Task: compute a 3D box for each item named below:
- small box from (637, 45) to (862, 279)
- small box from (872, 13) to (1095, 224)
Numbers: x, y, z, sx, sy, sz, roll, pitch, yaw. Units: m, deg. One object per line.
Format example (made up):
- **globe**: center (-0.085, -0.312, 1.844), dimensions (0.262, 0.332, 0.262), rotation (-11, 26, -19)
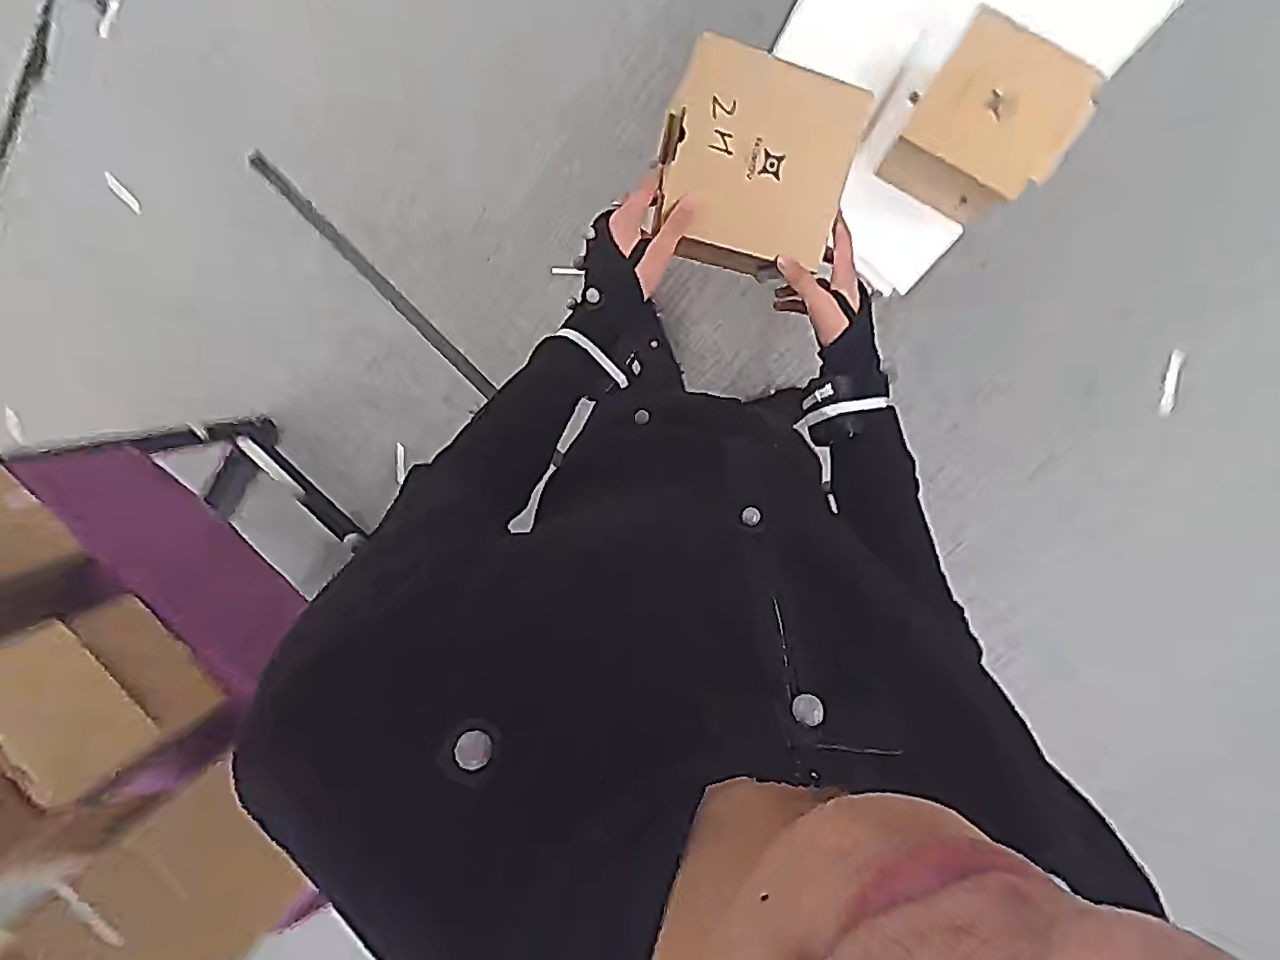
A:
- **small box**: center (0.103, -0.328, 0.599), dimensions (0.179, 0.176, 0.168), rotation (11, 107, -9)
- **small box**: center (0.466, -0.490, 0.769), dimensions (0.179, 0.176, 0.168), rotation (33, 106, 2)
